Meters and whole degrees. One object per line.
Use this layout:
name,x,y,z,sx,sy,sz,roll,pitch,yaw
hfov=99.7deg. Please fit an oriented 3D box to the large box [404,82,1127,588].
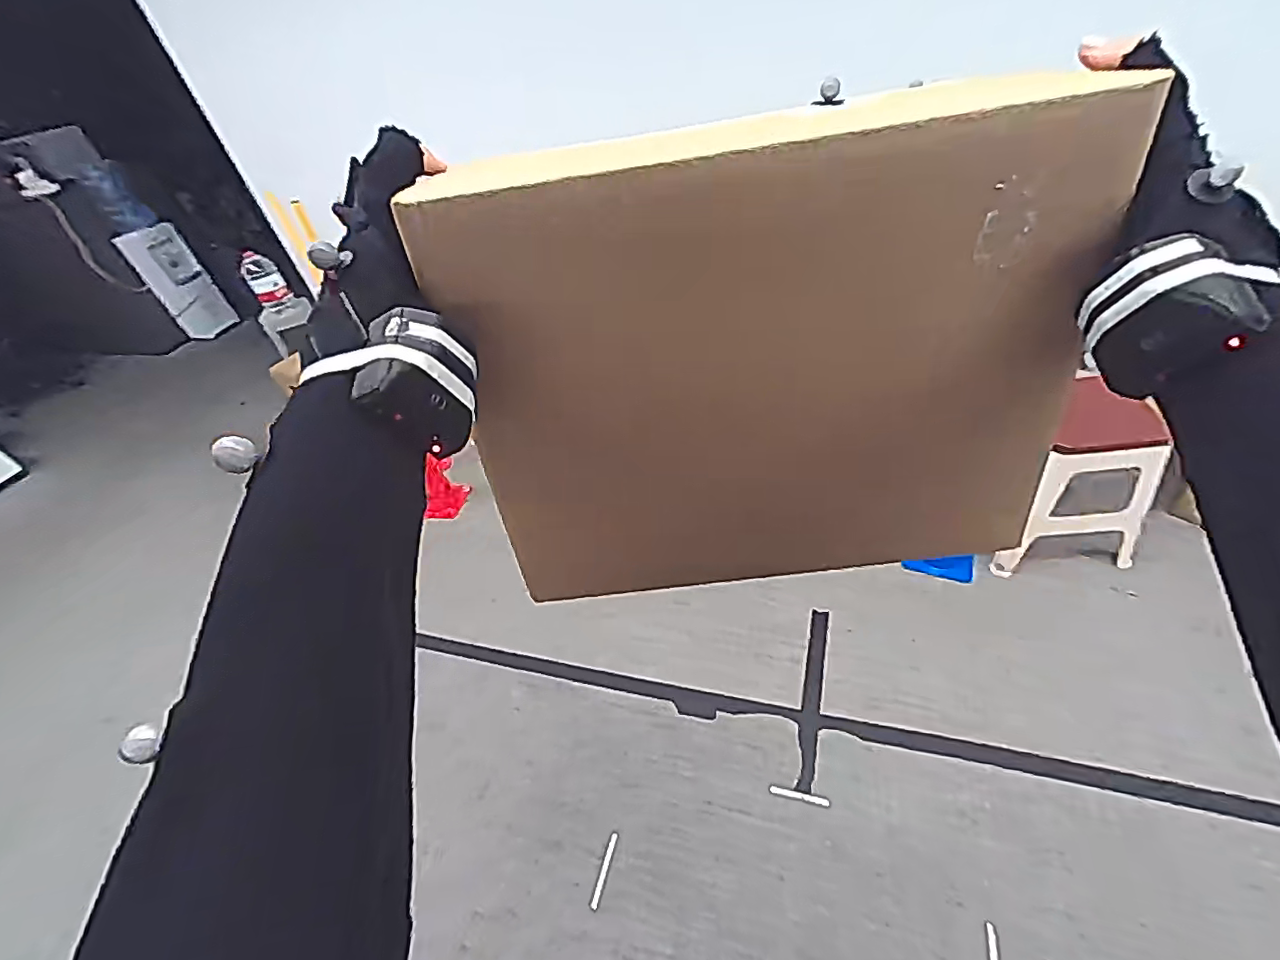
large box,0.075,-0.134,0.495,0.408,0.320,0.320,-7,34,2
